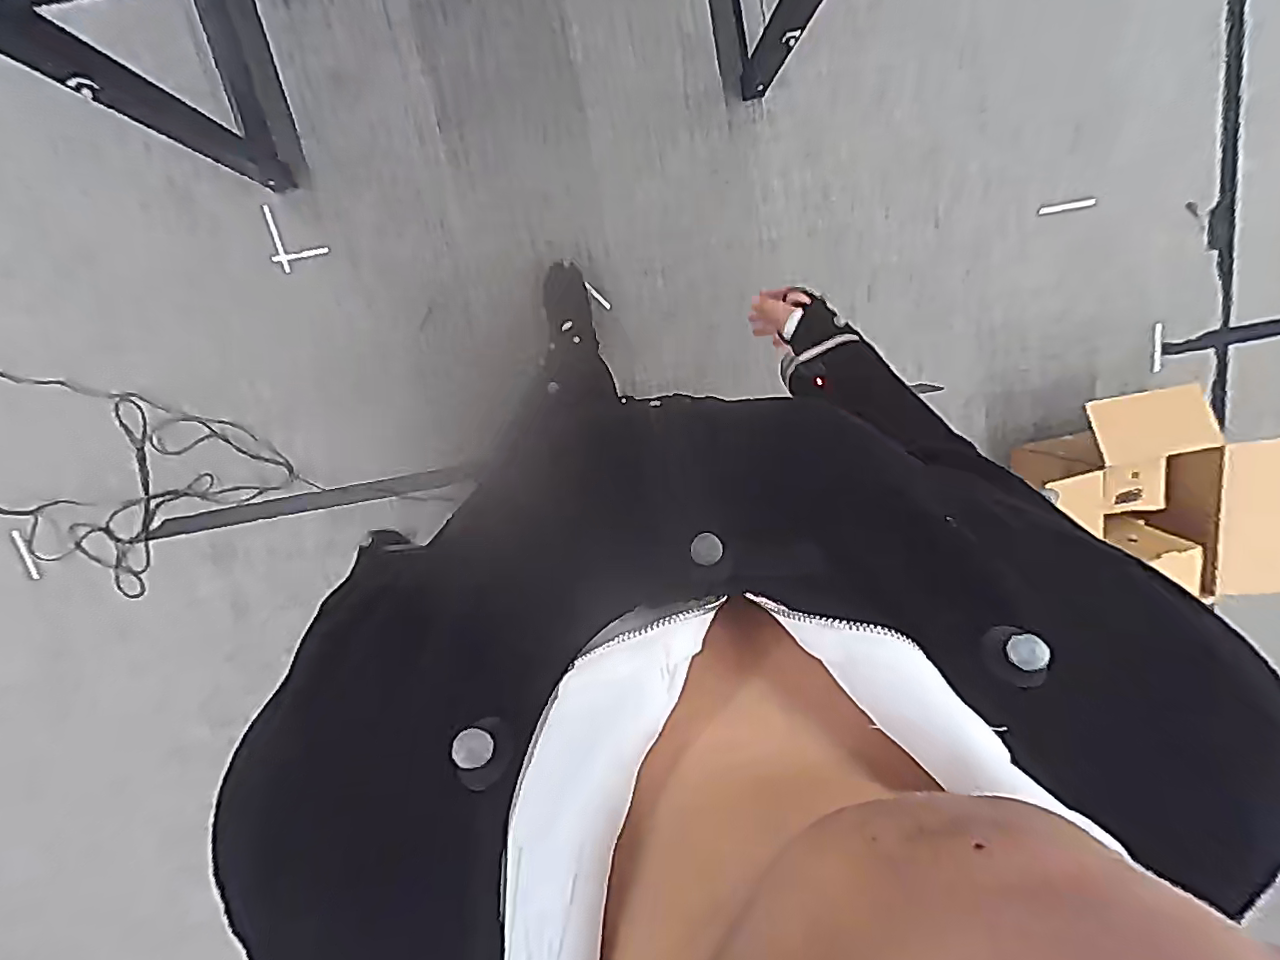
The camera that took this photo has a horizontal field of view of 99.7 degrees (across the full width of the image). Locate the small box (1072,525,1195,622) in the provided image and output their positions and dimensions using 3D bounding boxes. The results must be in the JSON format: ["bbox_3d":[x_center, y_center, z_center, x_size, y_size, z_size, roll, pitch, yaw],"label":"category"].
[{"bbox_3d":[1.250,0.228,1.381,0.168,0.176,0.179,-14,107,-2],"label":"small box"}]
